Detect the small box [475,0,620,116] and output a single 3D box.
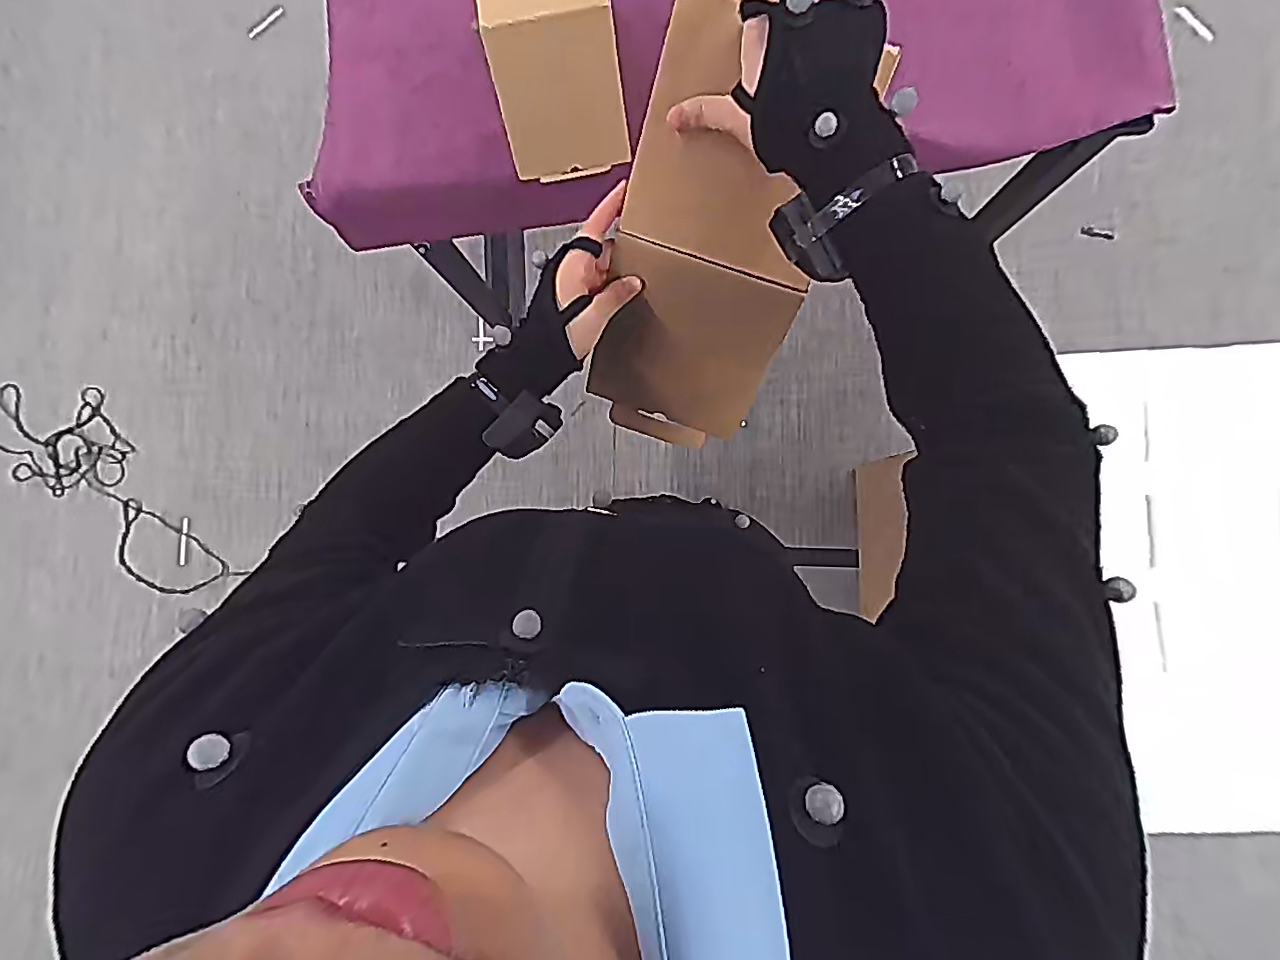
[{"bbox_3d":[-0.124,-0.643,0.751,0.168,0.176,0.179,-8,84,2],"label":"small box"}]
